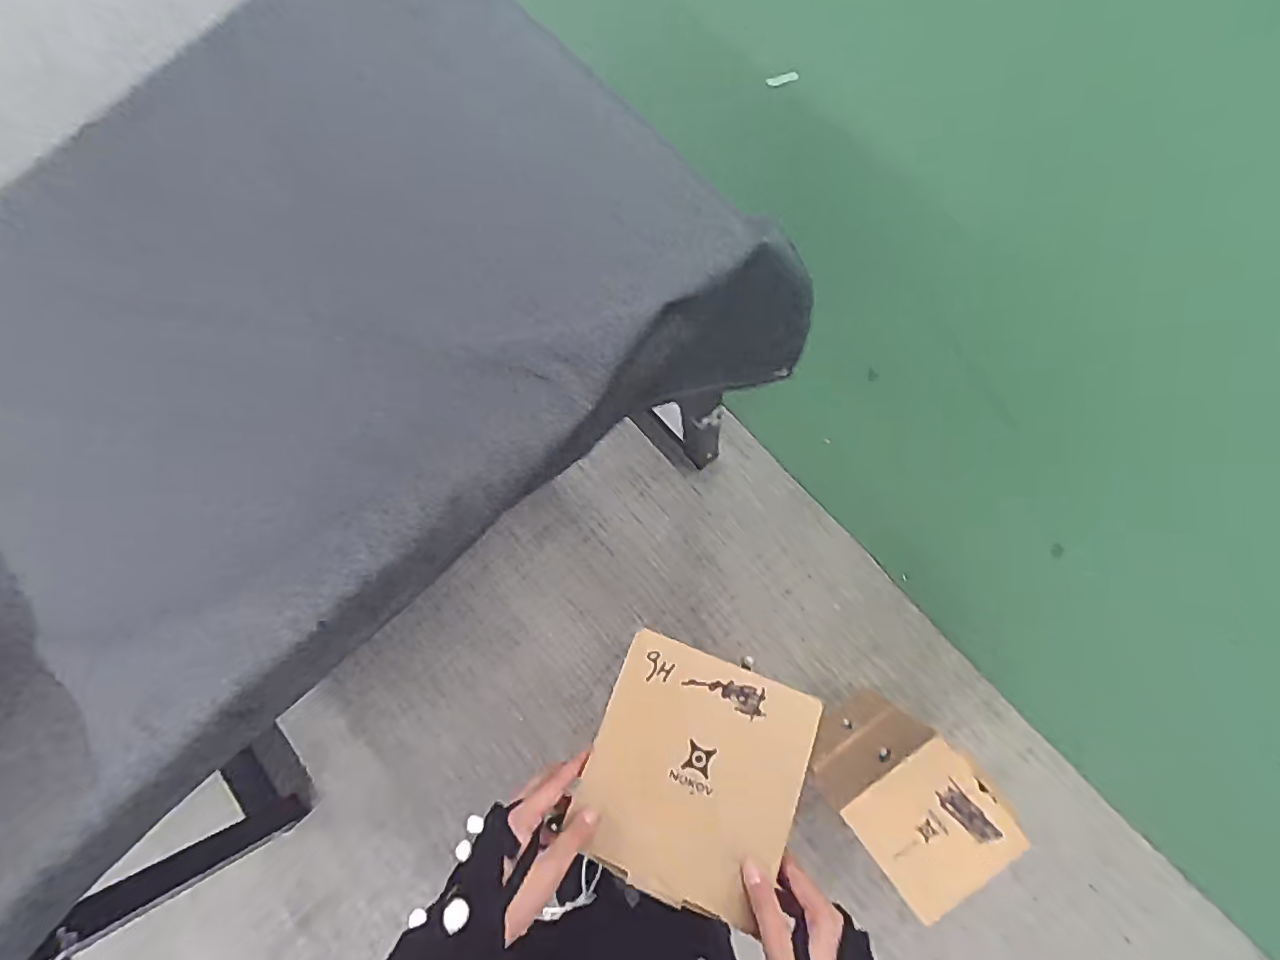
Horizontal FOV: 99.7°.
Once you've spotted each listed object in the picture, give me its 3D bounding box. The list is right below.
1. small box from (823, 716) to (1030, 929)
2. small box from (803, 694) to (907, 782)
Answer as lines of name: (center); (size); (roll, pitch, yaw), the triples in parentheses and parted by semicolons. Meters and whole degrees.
small box: (0.392, 0.471, 0.780); (0.179, 0.176, 0.168); (-37, 75, -1)
small box: (0.408, 0.499, 0.941); (0.179, 0.176, 0.168); (-37, 75, -1)
